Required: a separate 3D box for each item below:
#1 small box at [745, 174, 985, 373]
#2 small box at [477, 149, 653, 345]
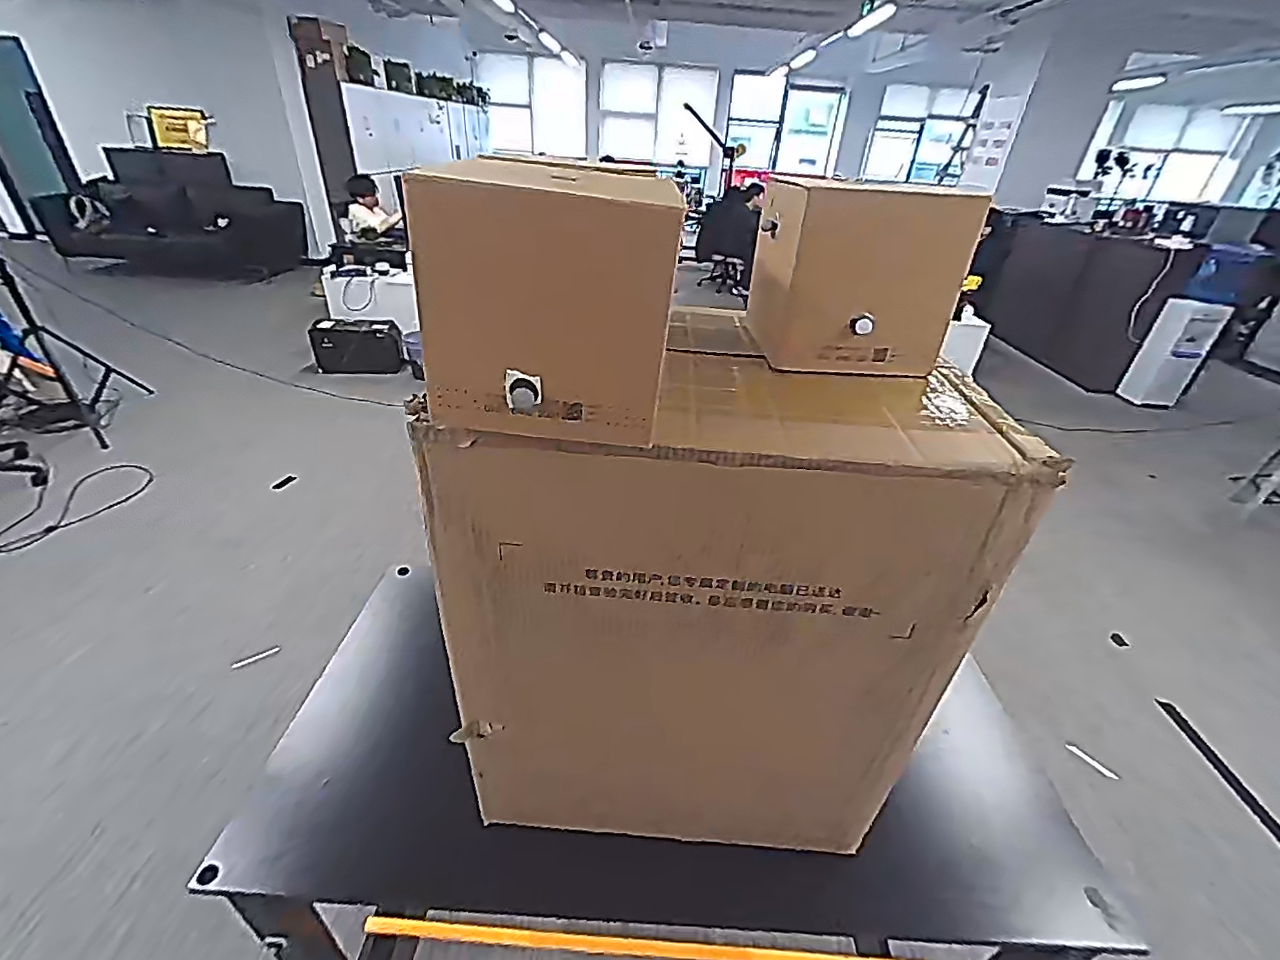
[{"bbox_3d":[0.216,-0.225,0.581,0.168,0.176,0.179,1,31,-2],"label":"small box"},{"bbox_3d":[-0.075,-0.262,0.606,0.168,0.176,0.179,3,30,-2],"label":"small box"}]
